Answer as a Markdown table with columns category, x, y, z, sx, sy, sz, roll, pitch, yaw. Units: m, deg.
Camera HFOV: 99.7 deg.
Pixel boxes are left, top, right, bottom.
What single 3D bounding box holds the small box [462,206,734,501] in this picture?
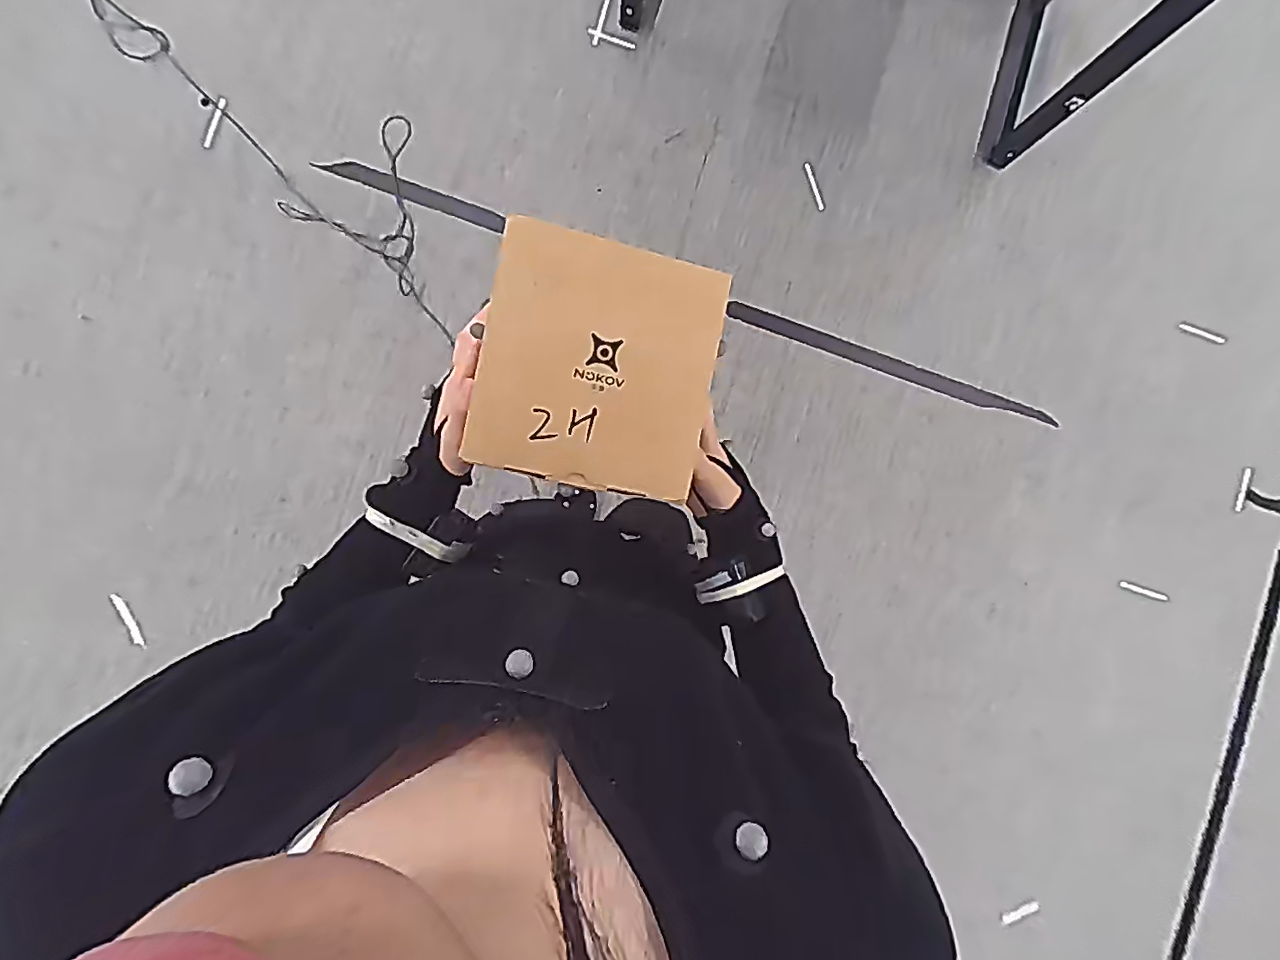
| category | x | y | z | sx | sy | sz | roll | pitch | yaw |
| --- | --- | --- | --- | --- | --- | --- | --- | --- | --- |
| small box | -0.040 | -0.086 | 0.456 | 0.168 | 0.176 | 0.179 | 12 | 89 | -10 |

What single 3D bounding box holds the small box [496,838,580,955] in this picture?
| category | x | y | z | sx | sy | sz | roll | pitch | yaw |
| --- | --- | --- | --- | --- | --- | --- | --- | --- | --- |
| small box | -0.253 | 1.052 | 1.377 | 0.179 | 0.176 | 0.168 | 12 | 88 | -6 |
